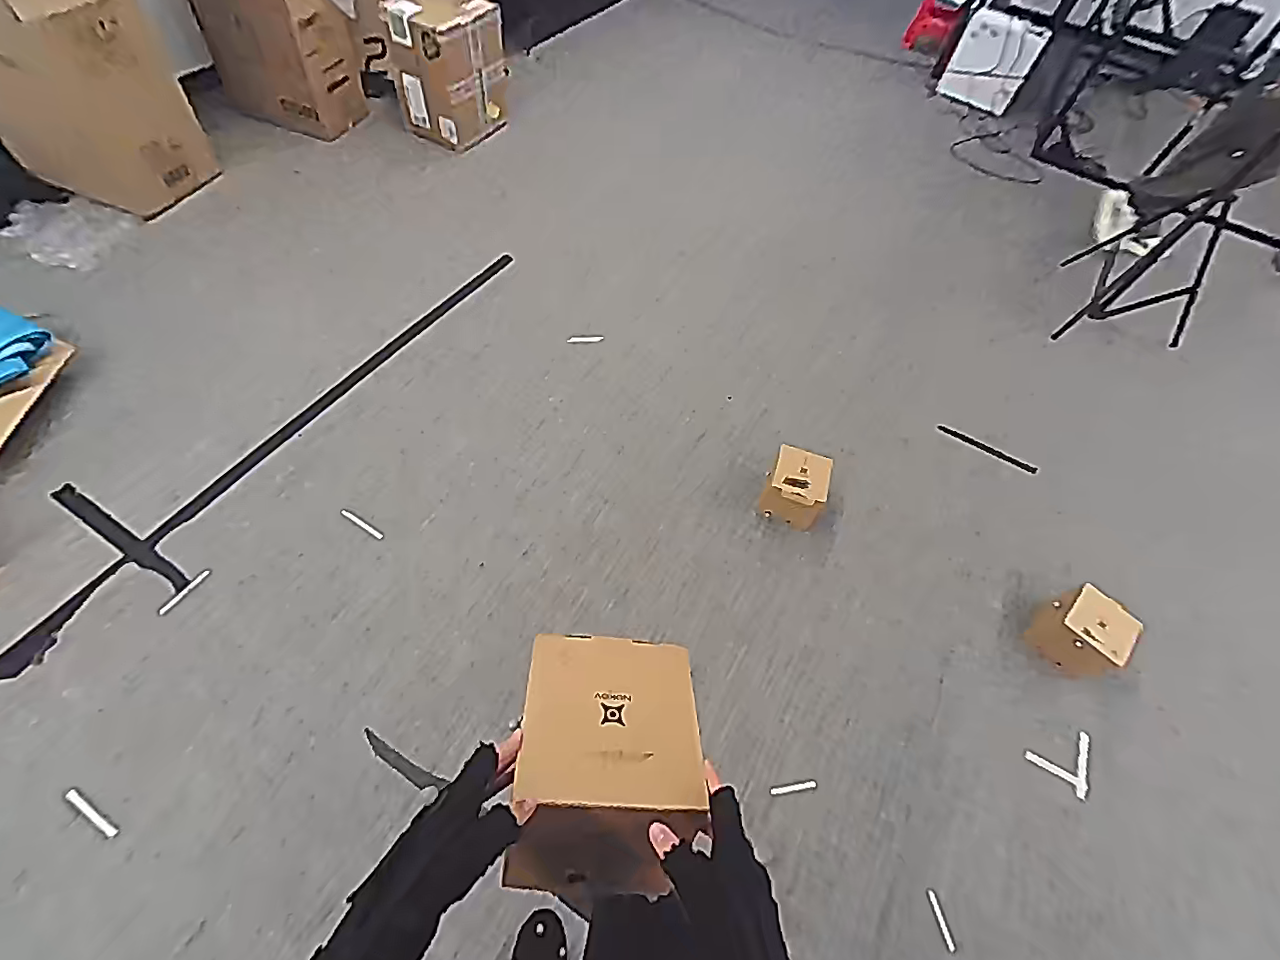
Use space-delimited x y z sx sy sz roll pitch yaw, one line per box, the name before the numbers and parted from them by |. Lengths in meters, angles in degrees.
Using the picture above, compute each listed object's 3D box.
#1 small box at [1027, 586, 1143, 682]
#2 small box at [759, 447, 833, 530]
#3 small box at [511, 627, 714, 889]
small box | 1.254 0.440 1.535 0.179 0.176 0.168 -37 69 -26
small box | 0.485 0.032 1.698 0.168 0.176 0.179 19 57 5
small box | -0.036 0.279 0.554 0.168 0.176 0.179 7 32 -8
